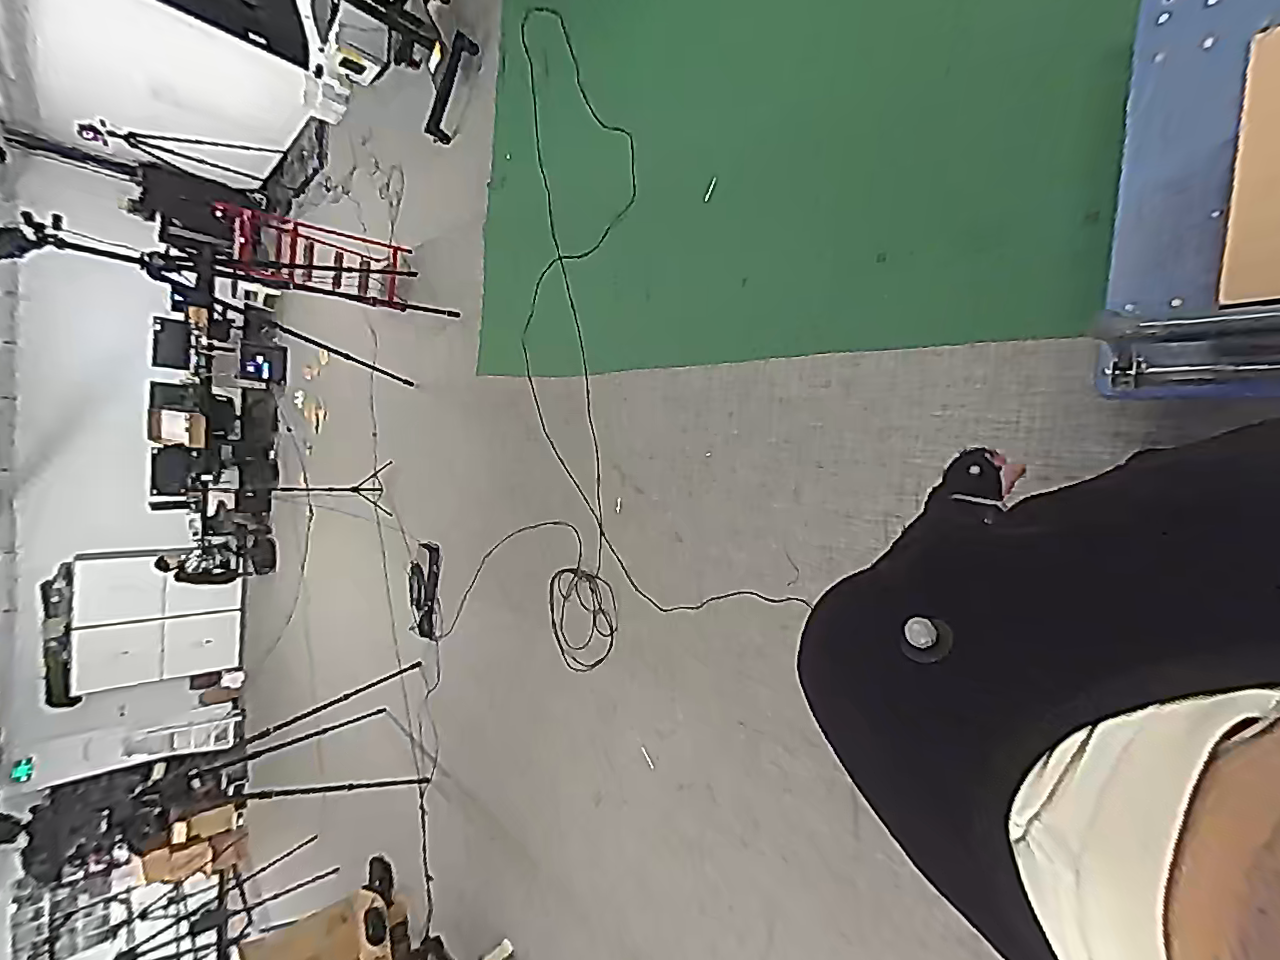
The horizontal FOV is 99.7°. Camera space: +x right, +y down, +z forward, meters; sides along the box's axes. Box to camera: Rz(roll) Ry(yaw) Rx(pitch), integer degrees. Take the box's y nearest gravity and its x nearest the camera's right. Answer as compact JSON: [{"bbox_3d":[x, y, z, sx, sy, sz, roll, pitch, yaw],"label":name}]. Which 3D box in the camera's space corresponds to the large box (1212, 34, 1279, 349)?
[{"bbox_3d":[1.113,-0.445,0.825,0.320,0.320,0.408,6,92,44],"label":"large box"}]
